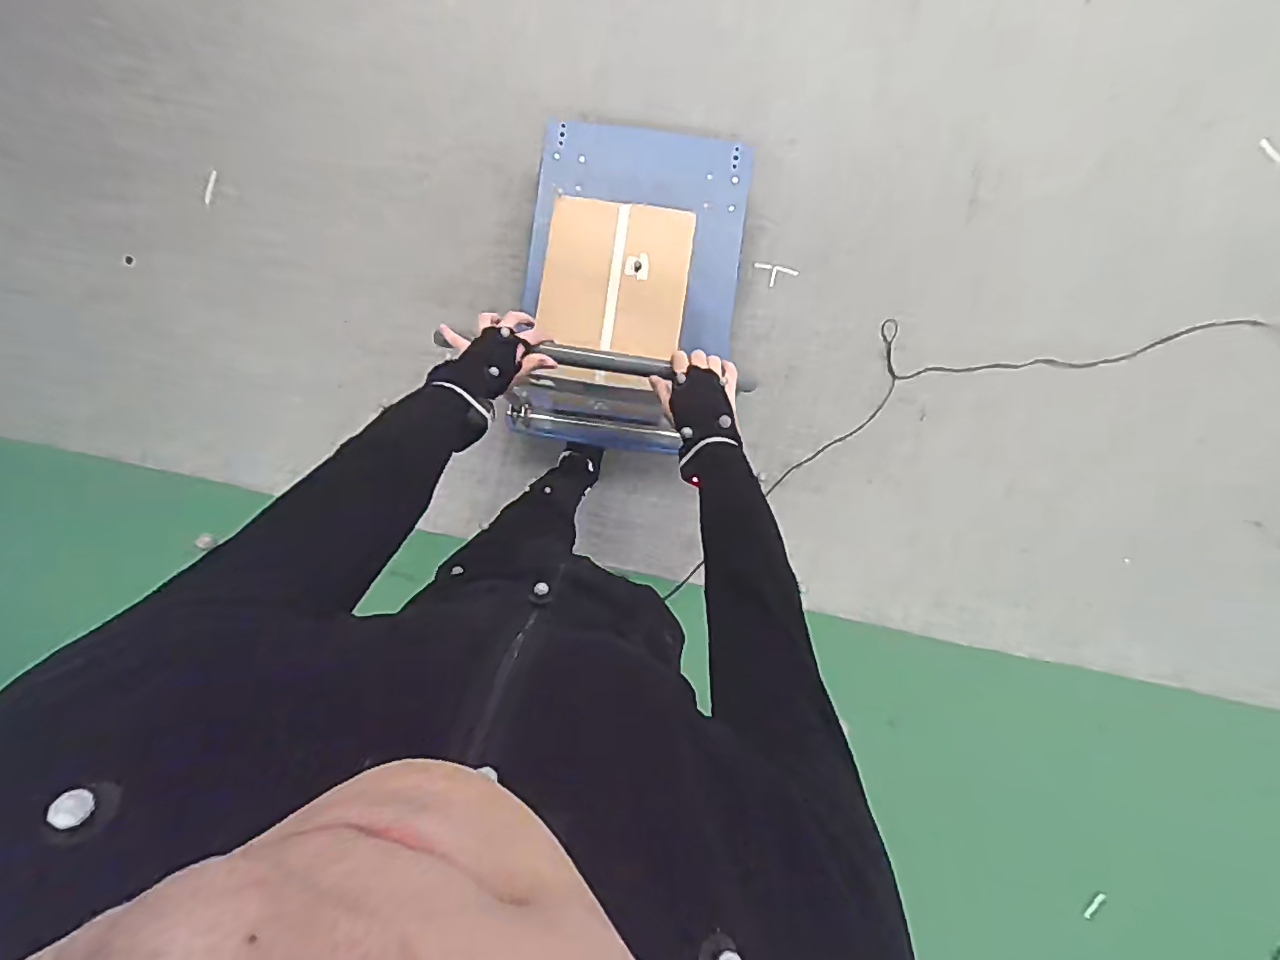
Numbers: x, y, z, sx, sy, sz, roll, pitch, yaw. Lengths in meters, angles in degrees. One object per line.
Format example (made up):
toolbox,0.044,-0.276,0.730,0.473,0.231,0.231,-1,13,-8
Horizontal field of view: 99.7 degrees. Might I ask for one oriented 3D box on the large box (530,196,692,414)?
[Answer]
large box,-0.063,-0.396,1.315,0.320,0.320,0.408,8,87,-1
